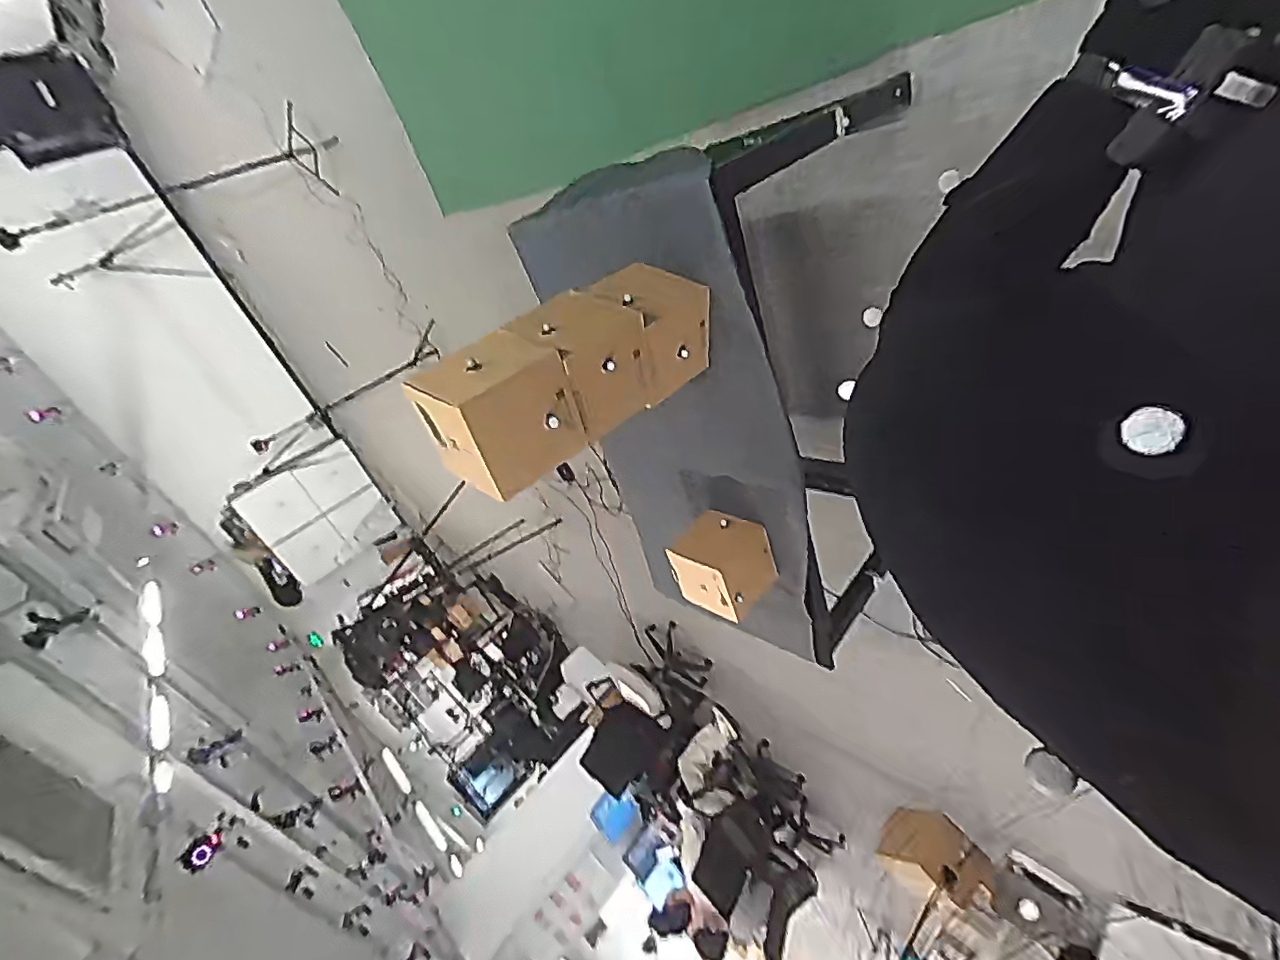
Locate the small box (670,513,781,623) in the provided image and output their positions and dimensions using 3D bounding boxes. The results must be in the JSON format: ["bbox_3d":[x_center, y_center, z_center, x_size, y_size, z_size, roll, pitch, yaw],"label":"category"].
[{"bbox_3d":[0.206,0.201,1.288,0.179,0.176,0.168,16,137,47],"label":"small box"}]

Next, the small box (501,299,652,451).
[{"bbox_3d":[-0.094,-0.181,0.896,0.179,0.176,0.168,30,145,36],"label":"small box"}]

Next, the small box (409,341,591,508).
[{"bbox_3d":[-0.203,-0.093,0.812,0.179,0.176,0.168,24,142,40],"label":"small box"}]

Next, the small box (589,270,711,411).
[{"bbox_3d":[0.015,-0.261,0.988,0.179,0.176,0.168,33,148,31],"label":"small box"}]
